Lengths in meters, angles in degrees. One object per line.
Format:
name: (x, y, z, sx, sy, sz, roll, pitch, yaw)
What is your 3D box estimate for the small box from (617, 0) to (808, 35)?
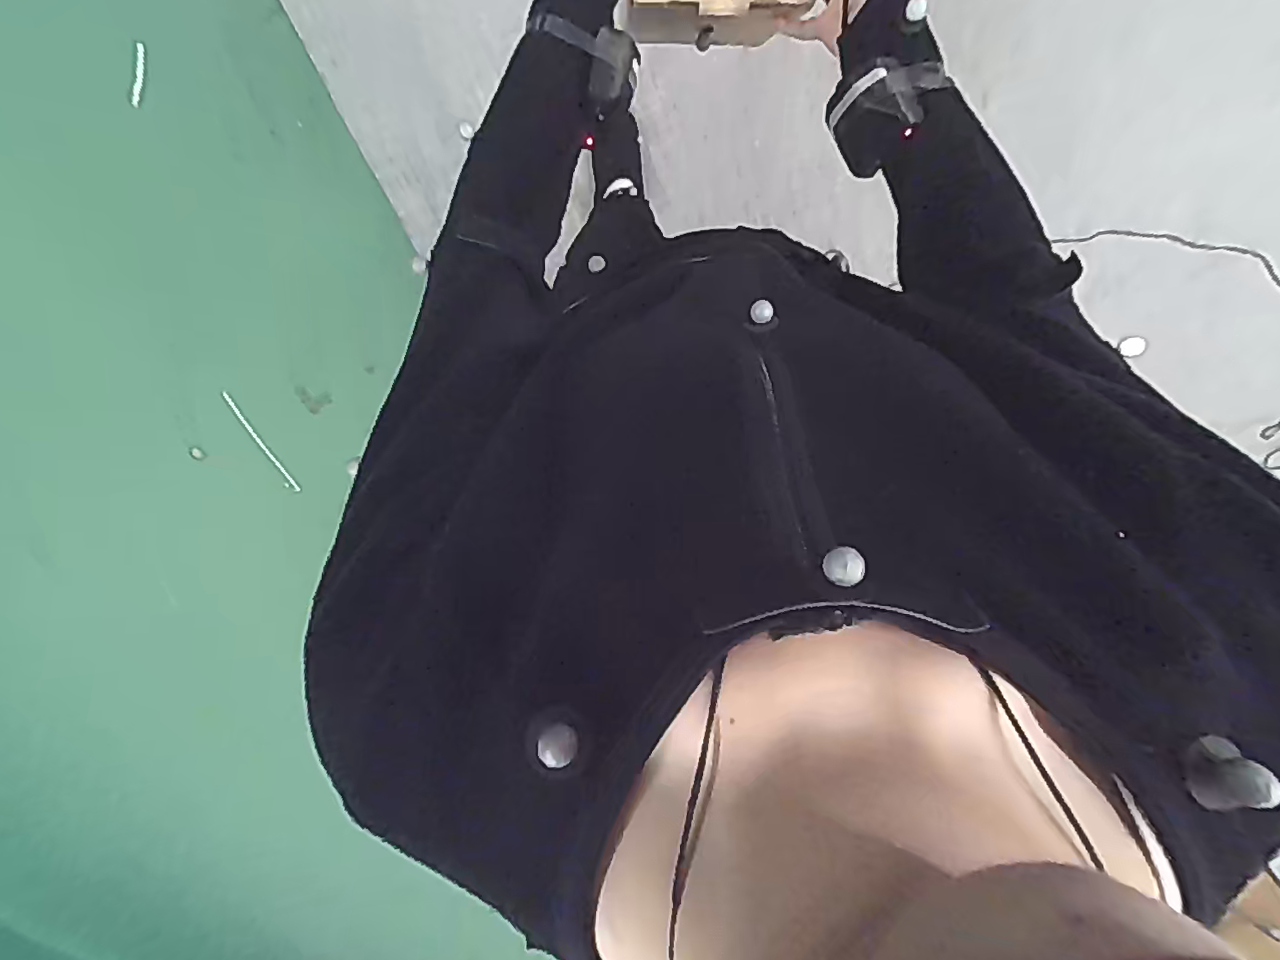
small box: (0.064, -0.529, 0.491, 0.168, 0.176, 0.179, -2, 121, -5)

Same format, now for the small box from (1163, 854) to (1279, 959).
small box: (1.112, 0.834, 0.988, 0.179, 0.176, 0.168, -26, 114, 9)

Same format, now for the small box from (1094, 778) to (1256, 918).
small box: (1.110, 0.764, 1.134, 0.179, 0.176, 0.168, -24, 115, 9)
